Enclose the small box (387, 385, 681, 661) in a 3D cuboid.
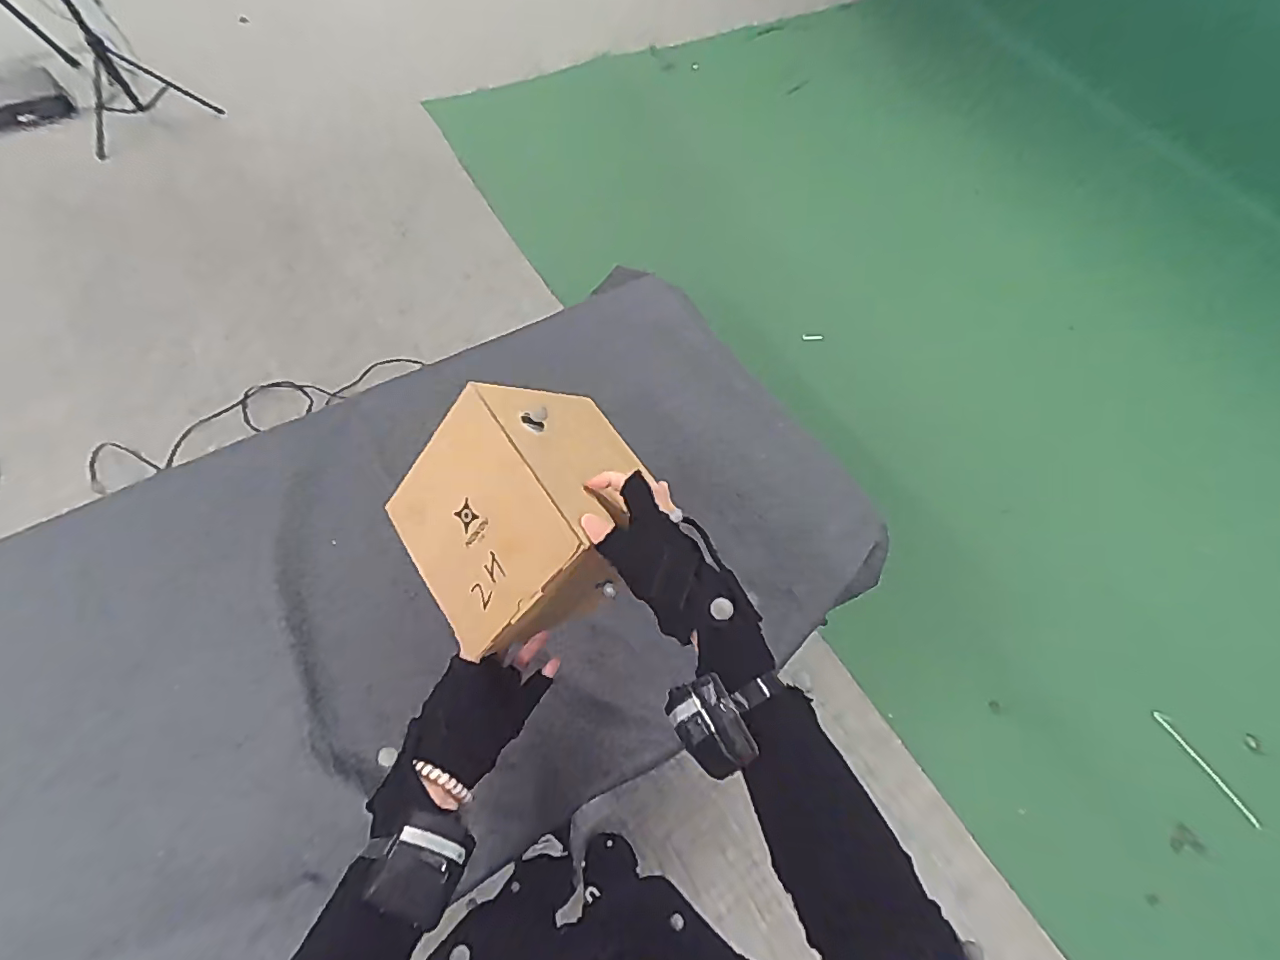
[{"bbox_3d":[-0.096,0.035,0.516,0.179,0.168,0.176,52,27,18],"label":"small box"}]
